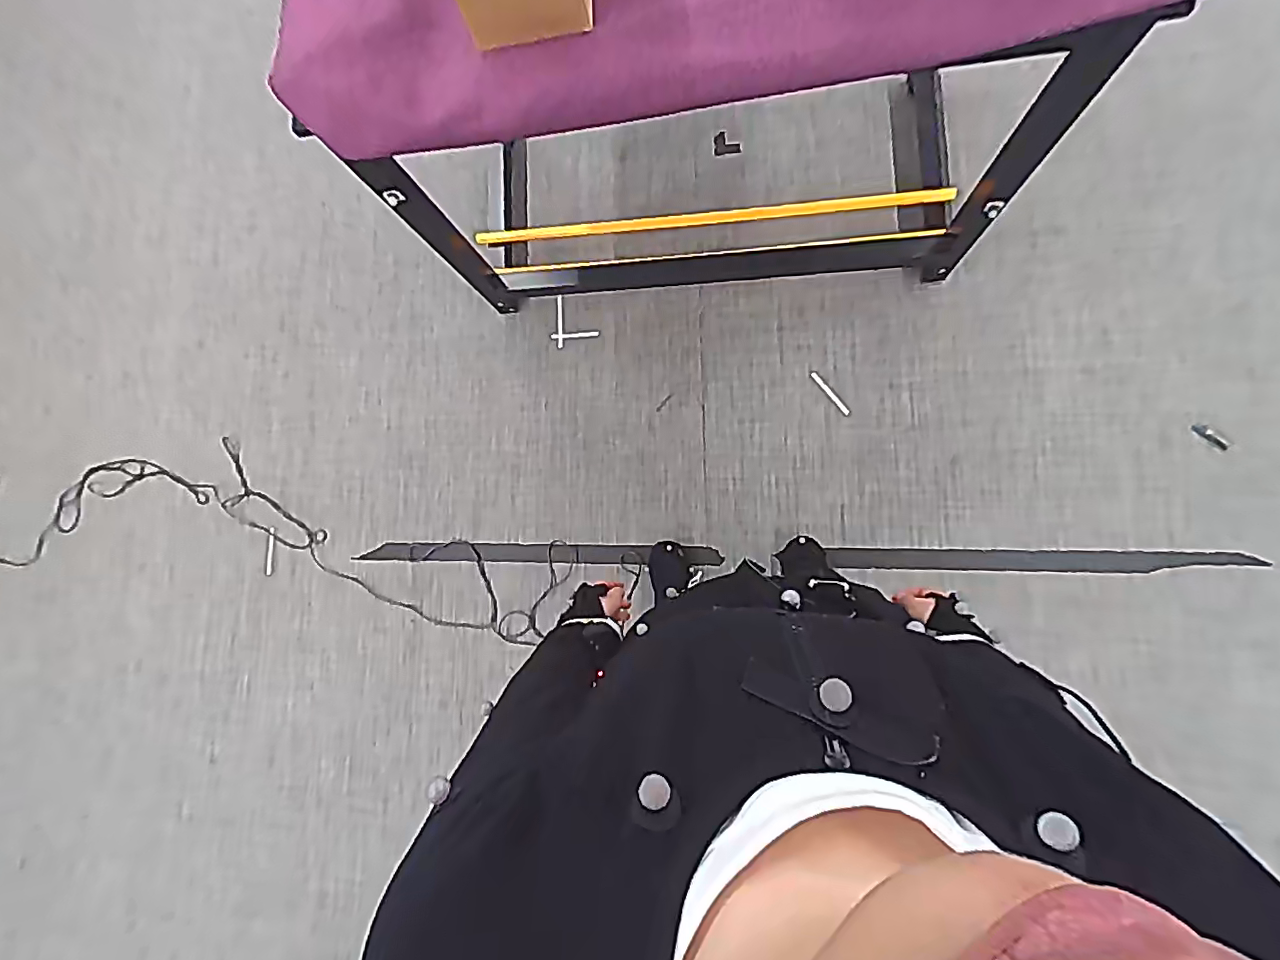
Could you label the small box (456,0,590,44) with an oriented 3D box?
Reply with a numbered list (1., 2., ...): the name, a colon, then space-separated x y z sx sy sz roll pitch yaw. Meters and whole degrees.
1. small box: -0.164 -0.719 0.700 0.179 0.176 0.168 -3 84 9
